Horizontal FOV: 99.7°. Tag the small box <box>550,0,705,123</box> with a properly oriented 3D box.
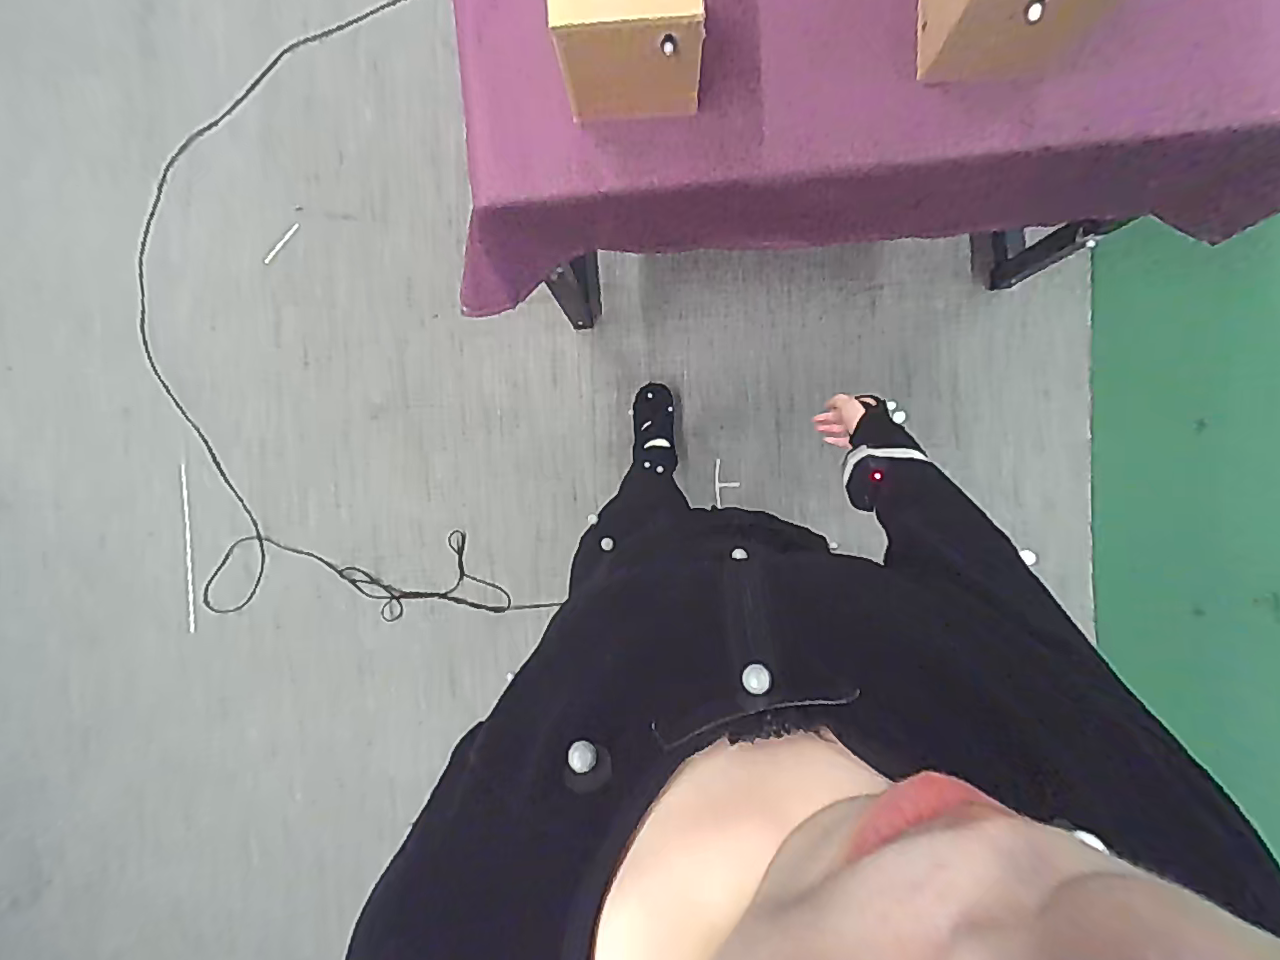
[{"bbox_3d":[-0.012,-0.585,0.683,0.179,0.176,0.168,-3,90,3],"label":"small box"}]

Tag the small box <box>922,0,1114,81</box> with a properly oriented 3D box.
[{"bbox_3d":[0.463,-0.618,0.651,0.179,0.176,0.168,2,91,3],"label":"small box"}]
